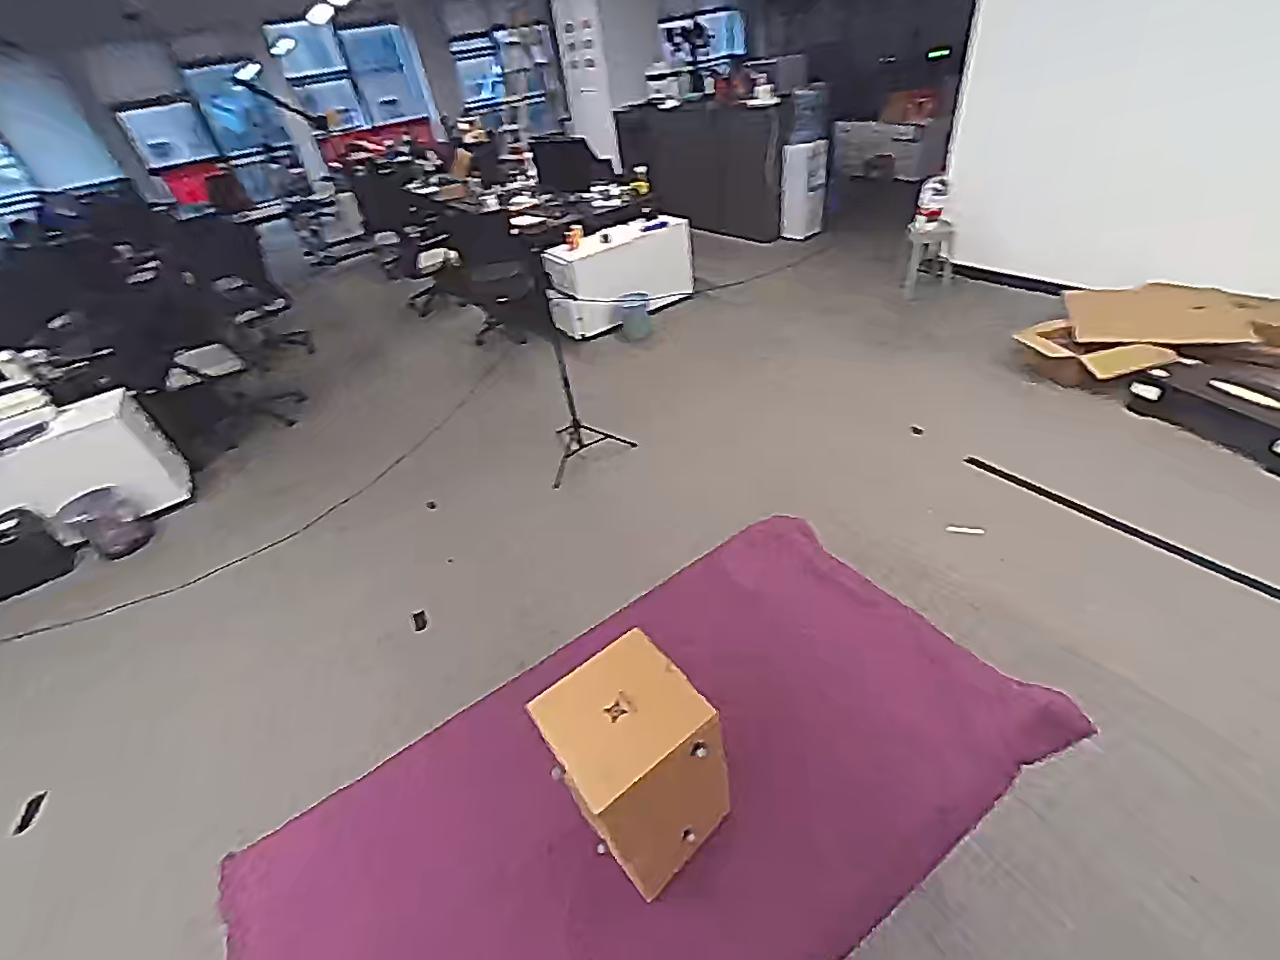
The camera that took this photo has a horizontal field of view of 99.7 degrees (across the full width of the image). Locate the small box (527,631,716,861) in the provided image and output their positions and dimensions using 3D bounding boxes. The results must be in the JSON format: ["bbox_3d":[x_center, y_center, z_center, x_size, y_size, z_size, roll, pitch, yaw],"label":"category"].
[{"bbox_3d":[-0.015,0.342,0.702,0.179,0.176,0.168,-30,42,-24],"label":"small box"}]
